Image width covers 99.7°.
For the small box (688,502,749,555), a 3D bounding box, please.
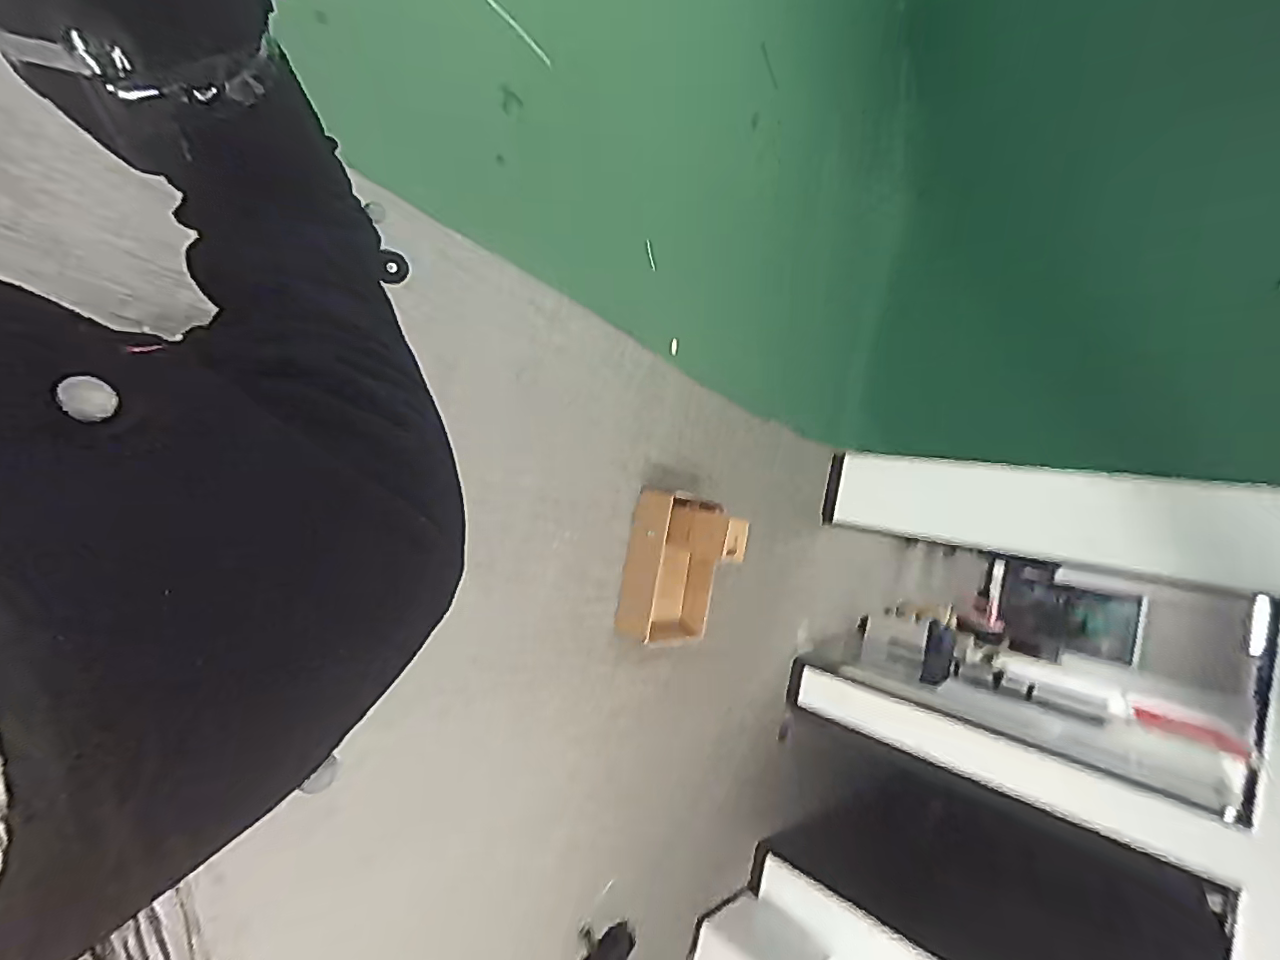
[{"bbox_3d":[0.312,0.194,2.187,0.168,0.176,0.179,13,88,-49],"label":"small box"}]
